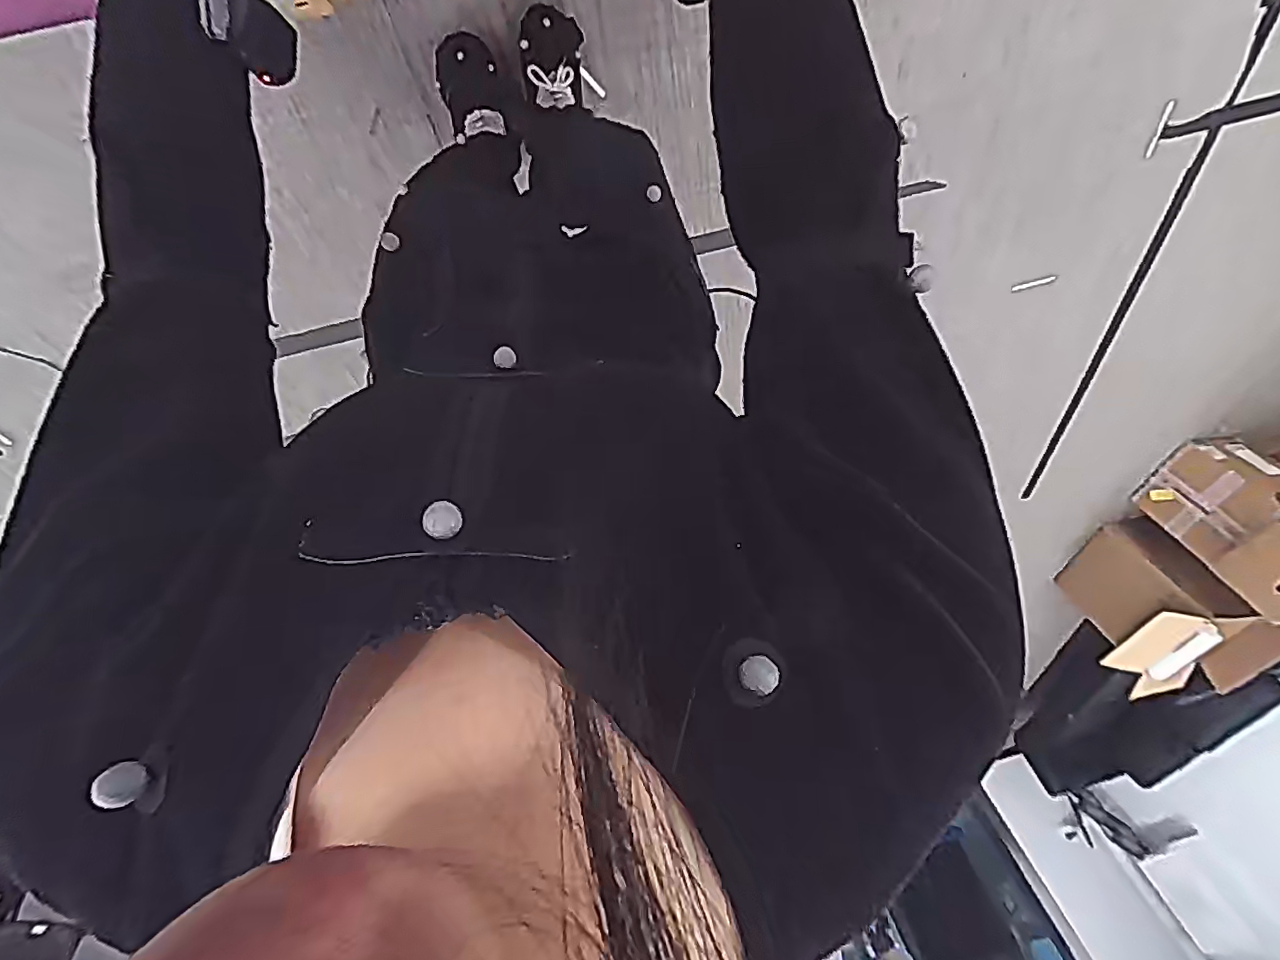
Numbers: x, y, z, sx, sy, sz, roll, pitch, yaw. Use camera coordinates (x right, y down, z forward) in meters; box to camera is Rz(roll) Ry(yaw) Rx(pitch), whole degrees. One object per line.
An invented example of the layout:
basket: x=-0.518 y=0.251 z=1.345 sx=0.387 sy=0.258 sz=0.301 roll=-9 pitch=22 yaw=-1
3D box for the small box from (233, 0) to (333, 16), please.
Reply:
small box: x=-0.565 y=-0.847 z=0.832 sx=0.168 sy=0.176 sz=0.179 roll=-16 pitch=134 yaw=-4
